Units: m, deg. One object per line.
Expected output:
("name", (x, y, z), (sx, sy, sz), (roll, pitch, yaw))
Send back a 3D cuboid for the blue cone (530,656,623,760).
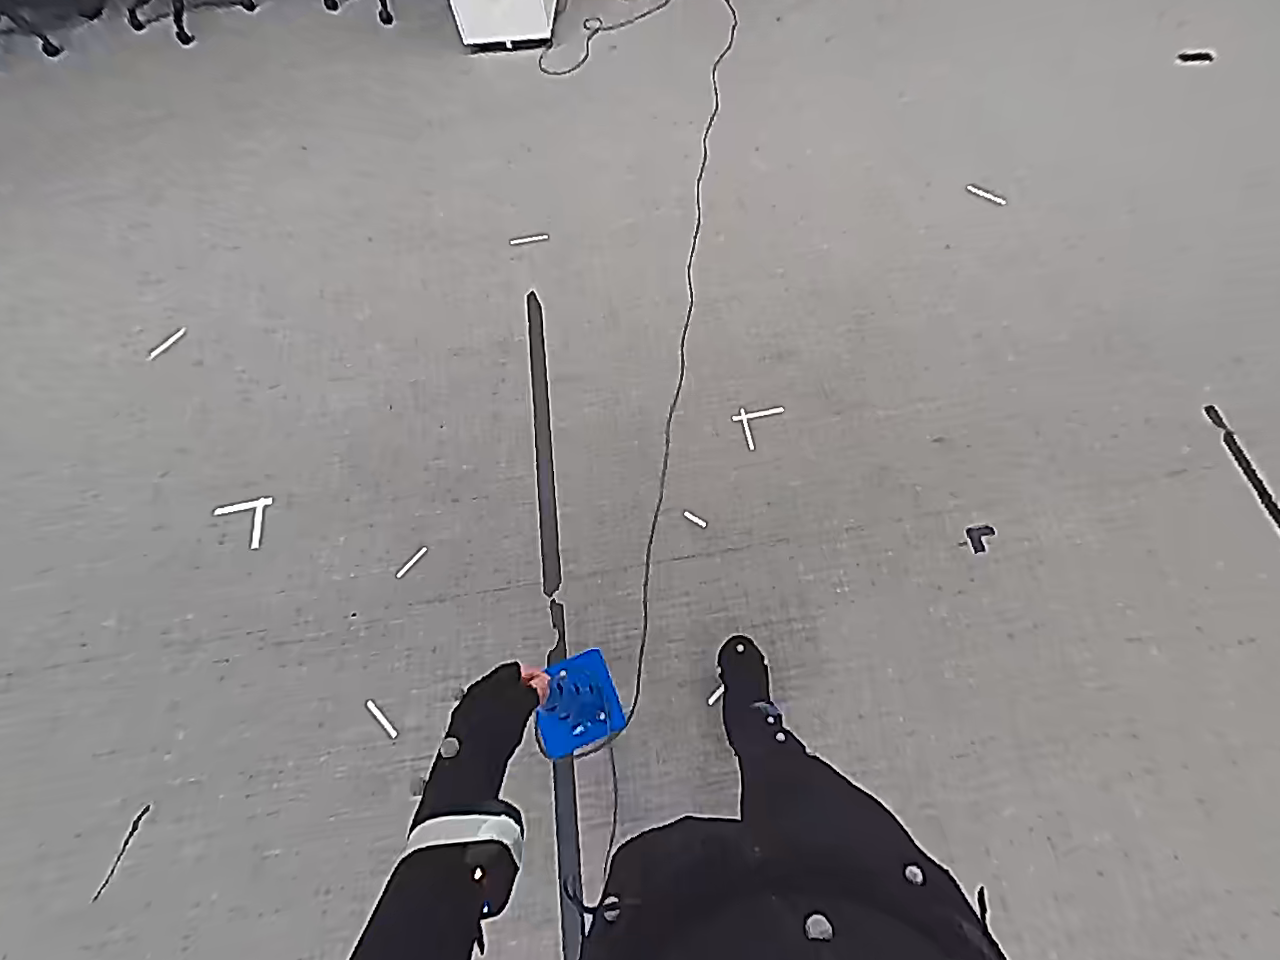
("blue cone", (-0.167, 0.462, 1.137), (0.193, 0.380, 0.192), (-24, 65, -7))
